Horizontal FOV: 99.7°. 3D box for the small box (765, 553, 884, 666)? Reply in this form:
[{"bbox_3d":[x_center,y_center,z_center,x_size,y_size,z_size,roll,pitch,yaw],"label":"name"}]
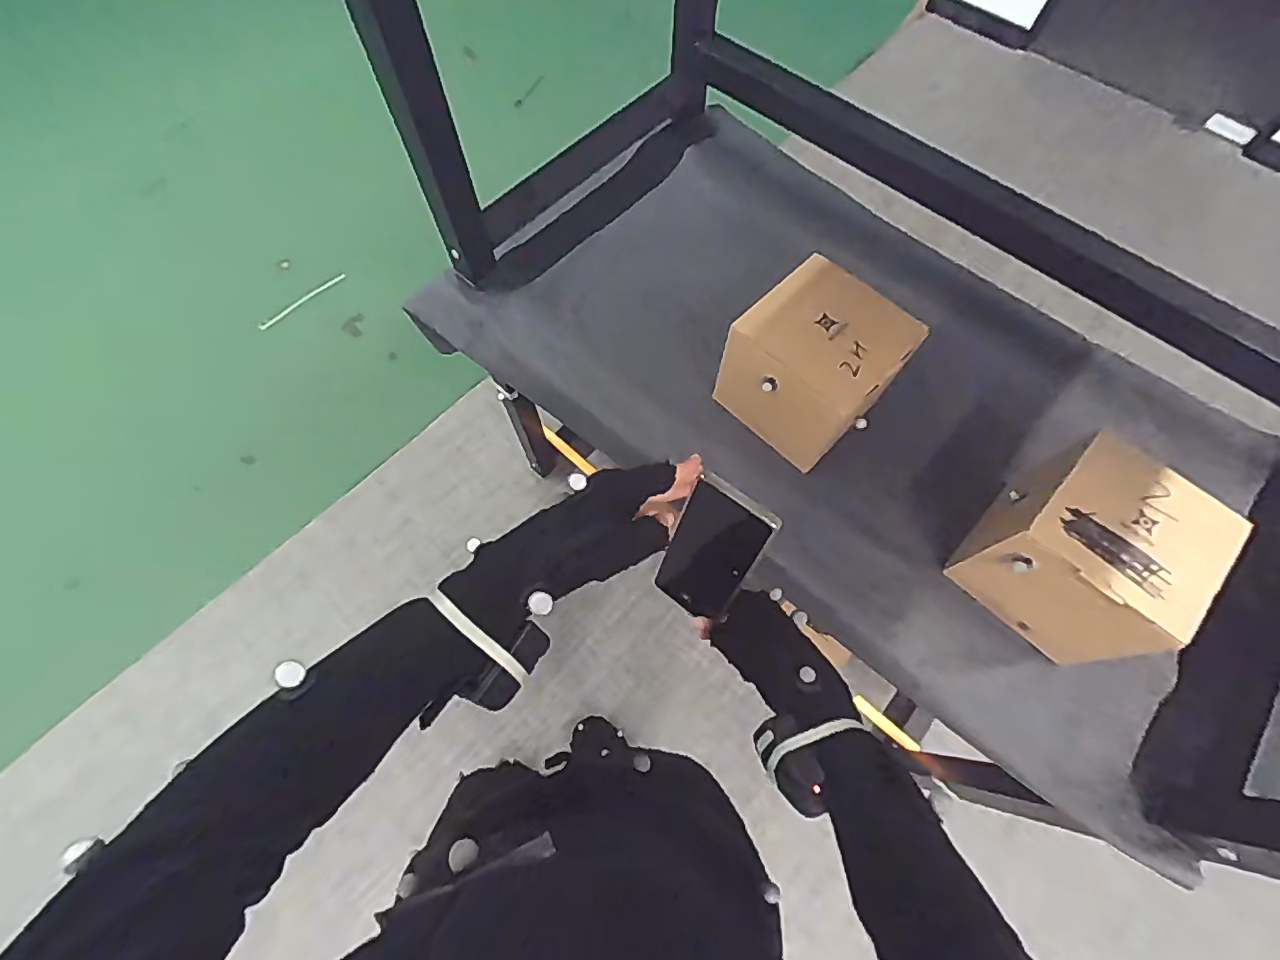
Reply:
[{"bbox_3d":[0.399,0.296,1.208,0.179,0.176,0.168,-42,74,-16],"label":"small box"}]

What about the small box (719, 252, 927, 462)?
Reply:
[{"bbox_3d":[0.226,-0.154,0.718,0.179,0.176,0.168,43,73,16],"label":"small box"}]
